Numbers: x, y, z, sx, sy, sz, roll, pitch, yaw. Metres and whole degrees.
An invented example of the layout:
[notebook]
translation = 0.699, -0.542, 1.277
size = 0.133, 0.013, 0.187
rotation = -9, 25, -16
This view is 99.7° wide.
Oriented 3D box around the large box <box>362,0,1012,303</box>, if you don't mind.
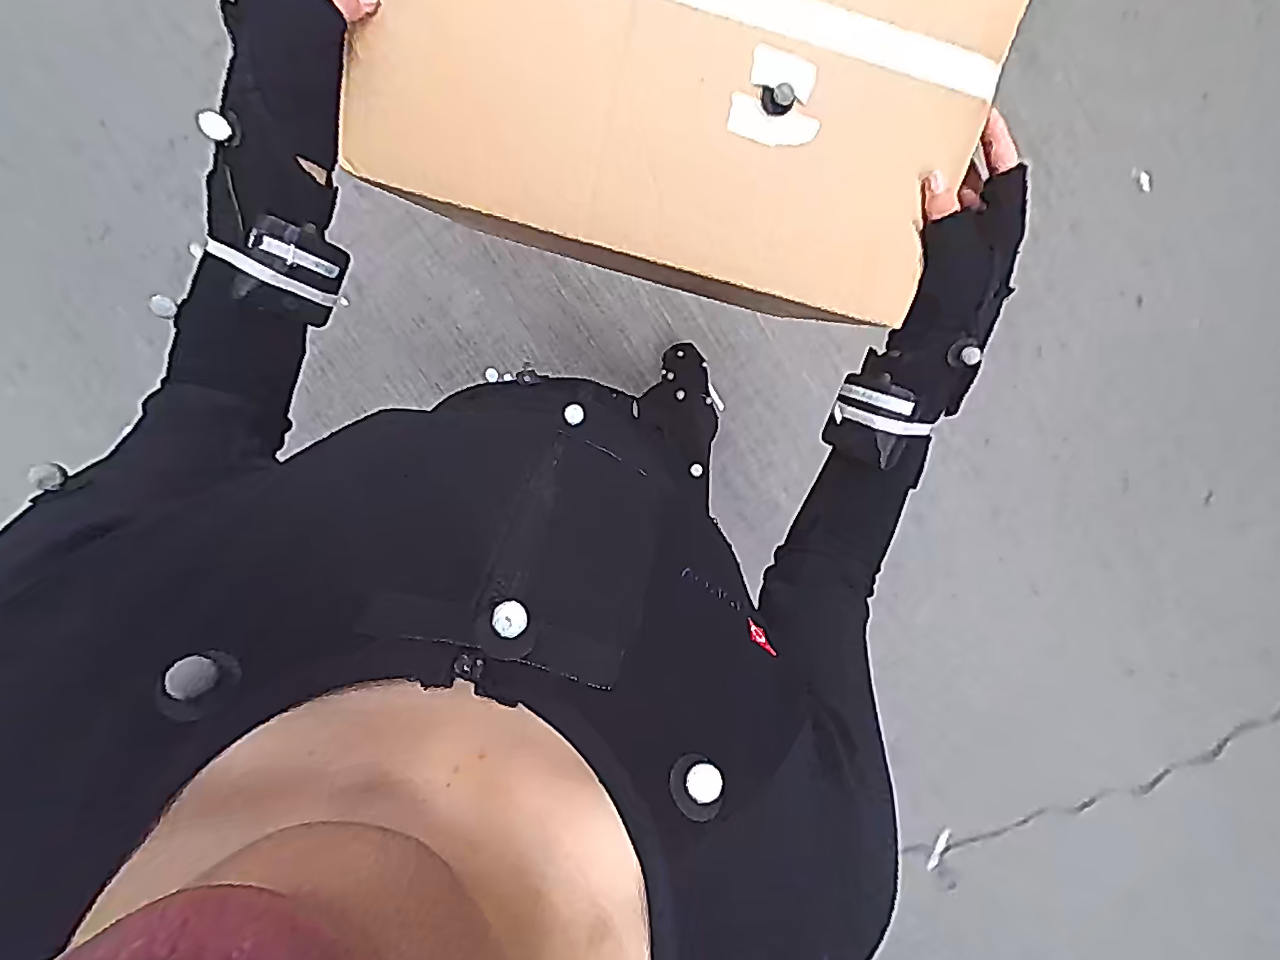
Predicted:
[large box]
translation = 0.029, -0.358, 0.481
size = 0.408, 0.320, 0.320
rotation = 12, 108, -6
